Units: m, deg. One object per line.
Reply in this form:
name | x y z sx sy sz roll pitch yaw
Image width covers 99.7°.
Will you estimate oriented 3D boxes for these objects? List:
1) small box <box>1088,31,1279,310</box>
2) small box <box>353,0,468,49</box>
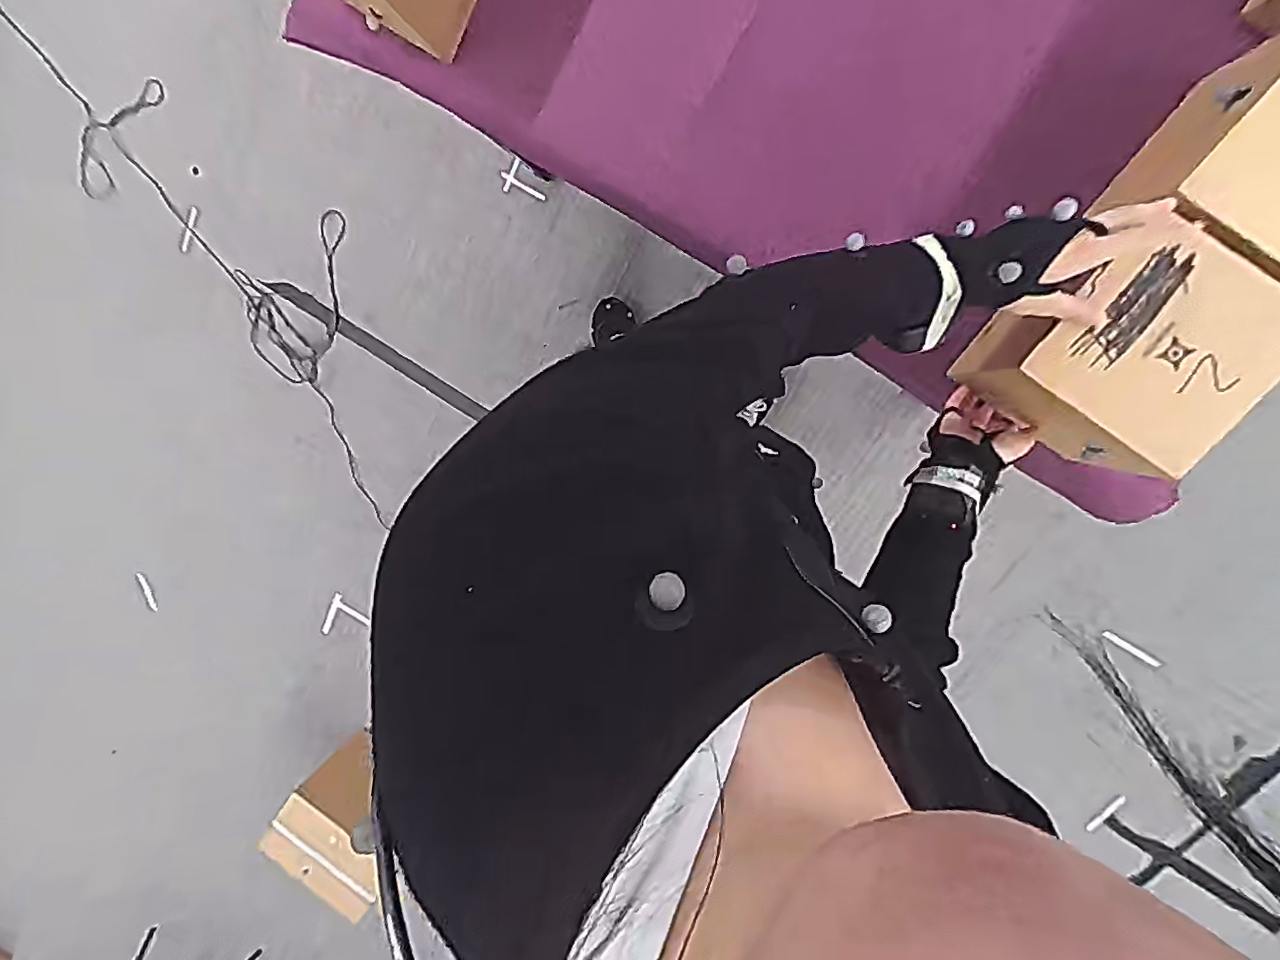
small box | 0.572 -0.278 0.497 0.168 0.176 0.179 37 106 2
small box | -0.285 -0.626 0.591 0.179 0.176 0.168 32 106 2
